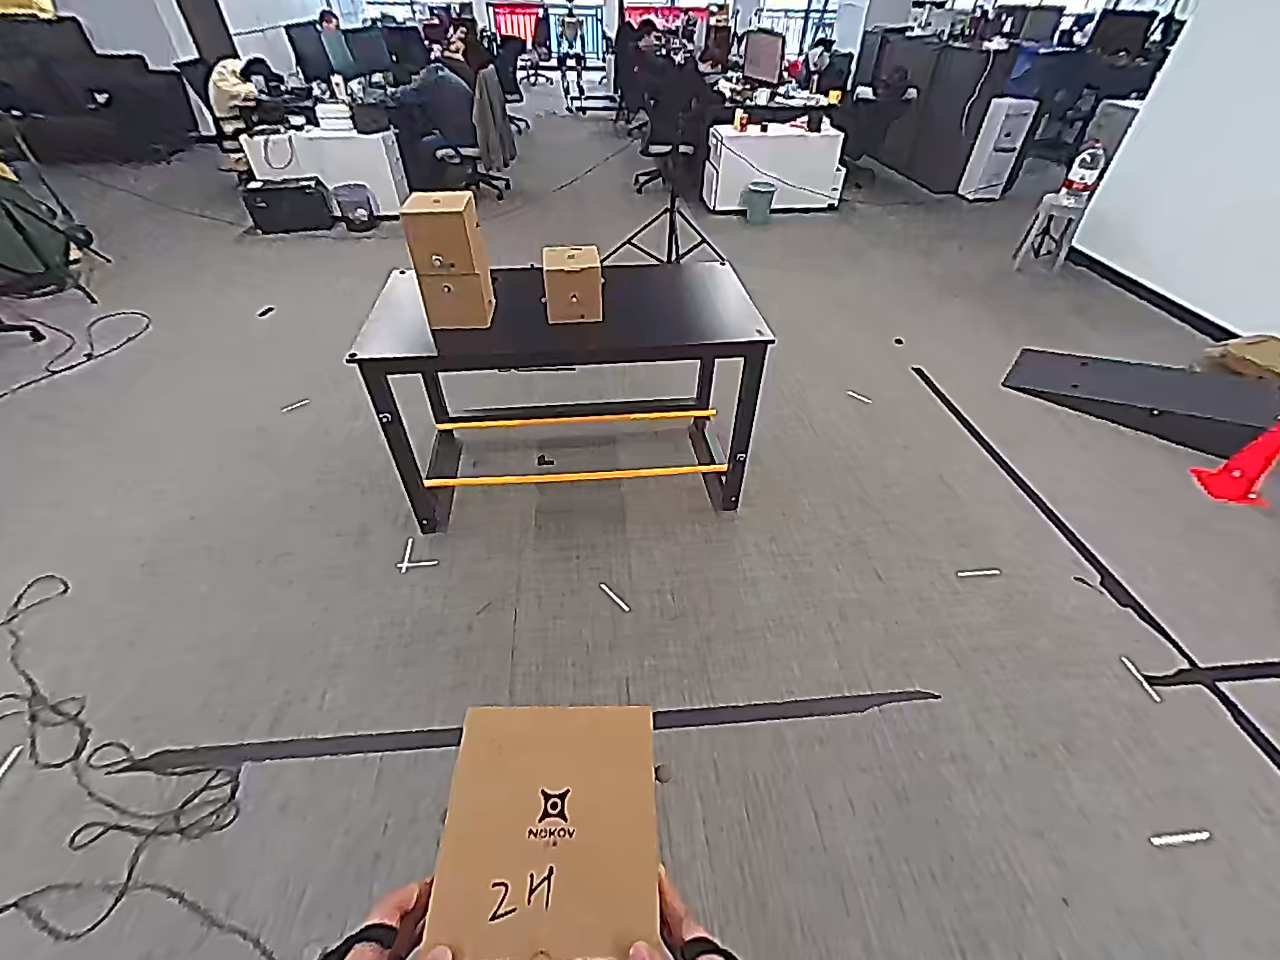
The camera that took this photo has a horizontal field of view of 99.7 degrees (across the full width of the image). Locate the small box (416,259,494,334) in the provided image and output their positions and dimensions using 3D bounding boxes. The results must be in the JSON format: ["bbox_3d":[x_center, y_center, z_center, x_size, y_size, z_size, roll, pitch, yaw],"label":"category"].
[{"bbox_3d":[-0.546,-0.548,1.618,0.179,0.176,0.168,-2,43,-5],"label":"small box"}]

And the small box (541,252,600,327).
[{"bbox_3d":[-0.213,-0.581,1.663,0.168,0.176,0.179,-5,43,-6],"label":"small box"}]

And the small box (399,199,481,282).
[{"bbox_3d":[-0.546,-0.667,1.507,0.168,0.176,0.179,-5,44,-4],"label":"small box"}]

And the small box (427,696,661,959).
[{"bbox_3d":[-0.071,0.315,0.488,0.168,0.176,0.179,0,45,-2],"label":"small box"}]
